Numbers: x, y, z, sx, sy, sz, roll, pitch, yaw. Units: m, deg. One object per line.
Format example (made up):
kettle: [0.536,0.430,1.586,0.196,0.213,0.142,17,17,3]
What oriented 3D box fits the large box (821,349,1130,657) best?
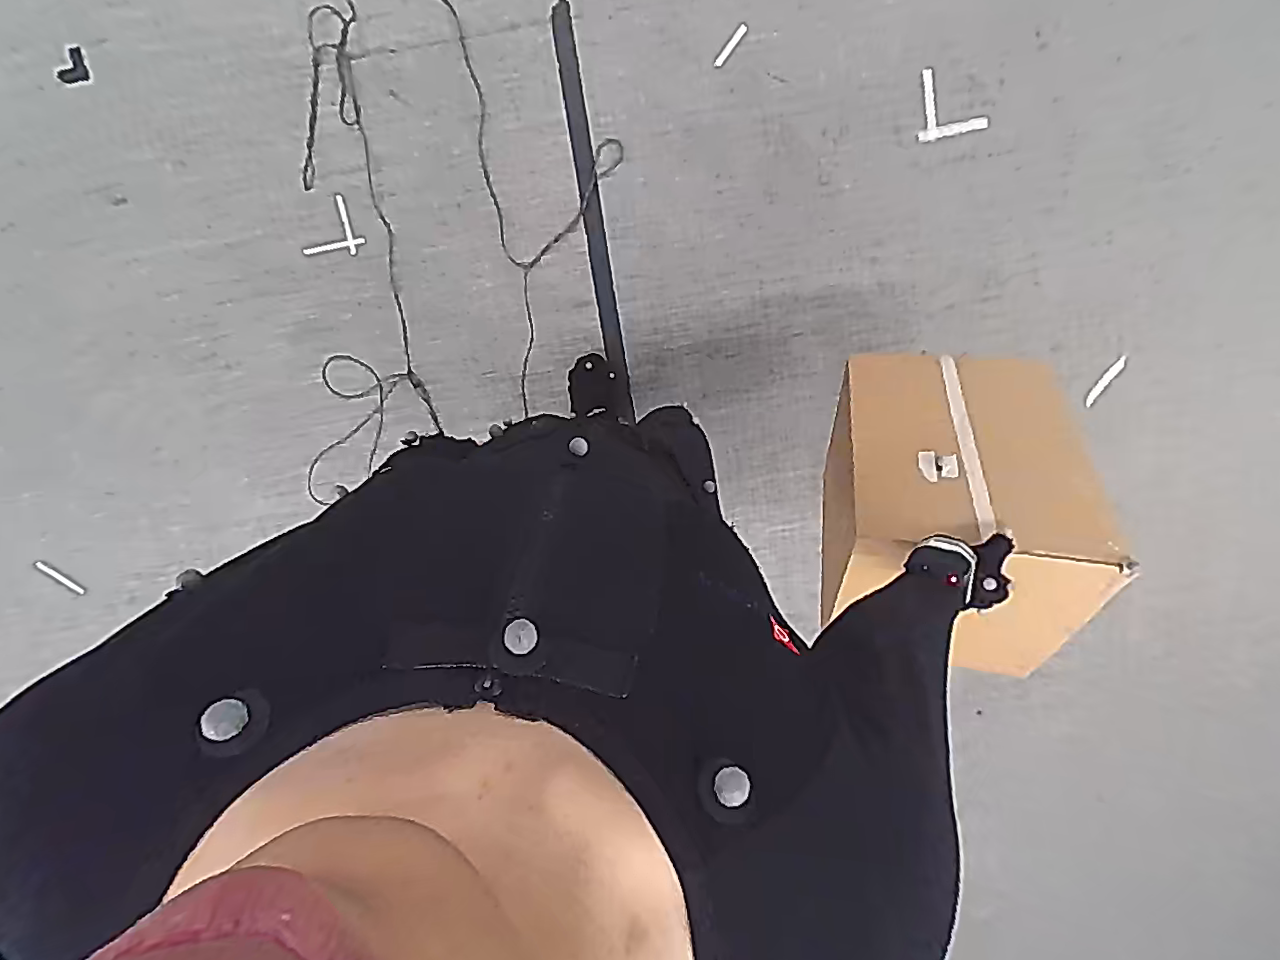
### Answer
large box: [0.492,0.029,0.912,0.320,0.408,0.320,4,141,13]
